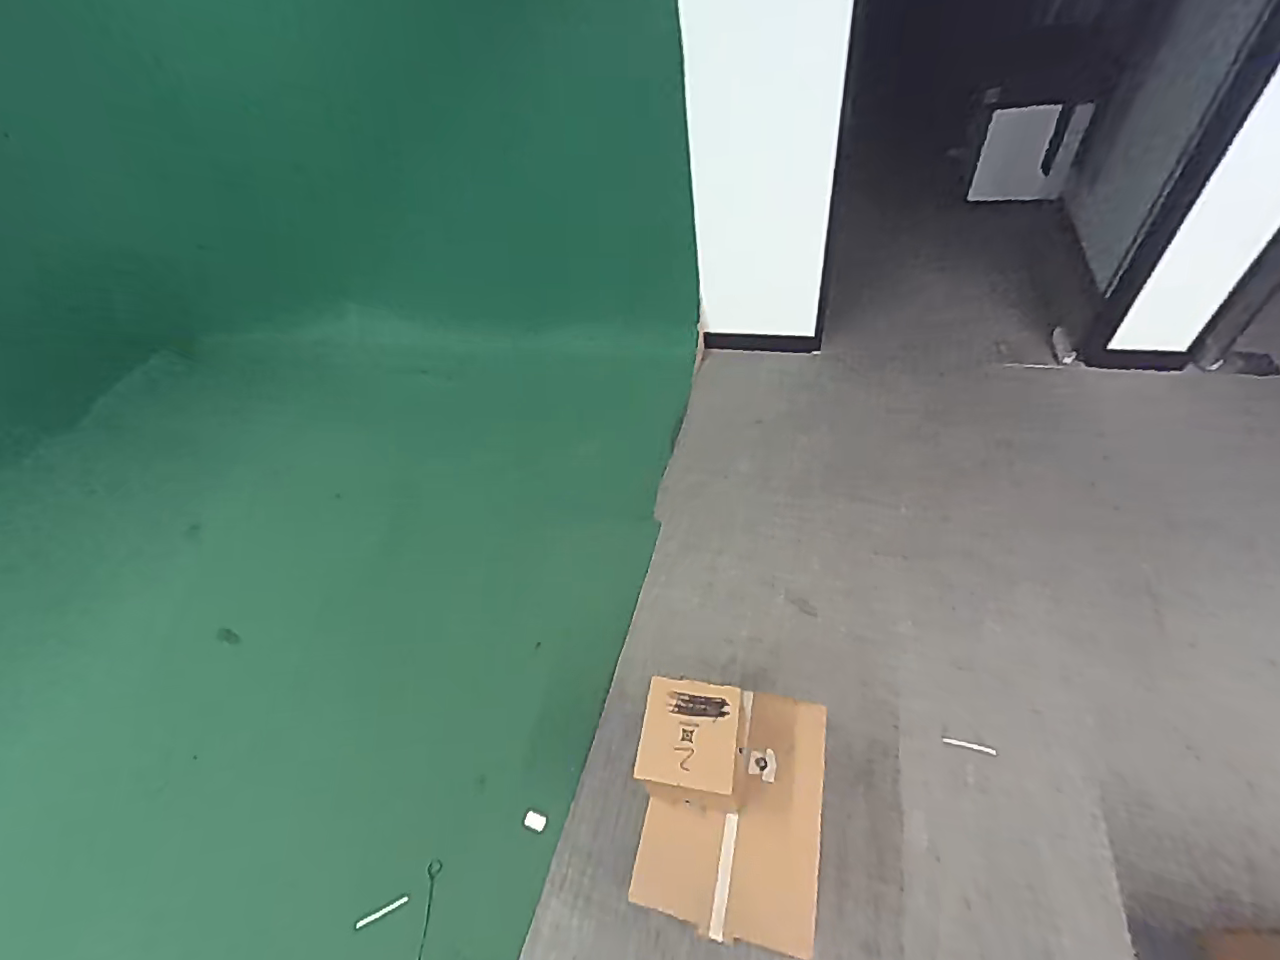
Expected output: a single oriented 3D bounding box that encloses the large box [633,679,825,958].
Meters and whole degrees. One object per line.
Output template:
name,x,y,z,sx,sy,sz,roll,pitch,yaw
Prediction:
large box,0.205,0.691,1.123,0.320,0.320,0.408,6,51,17
